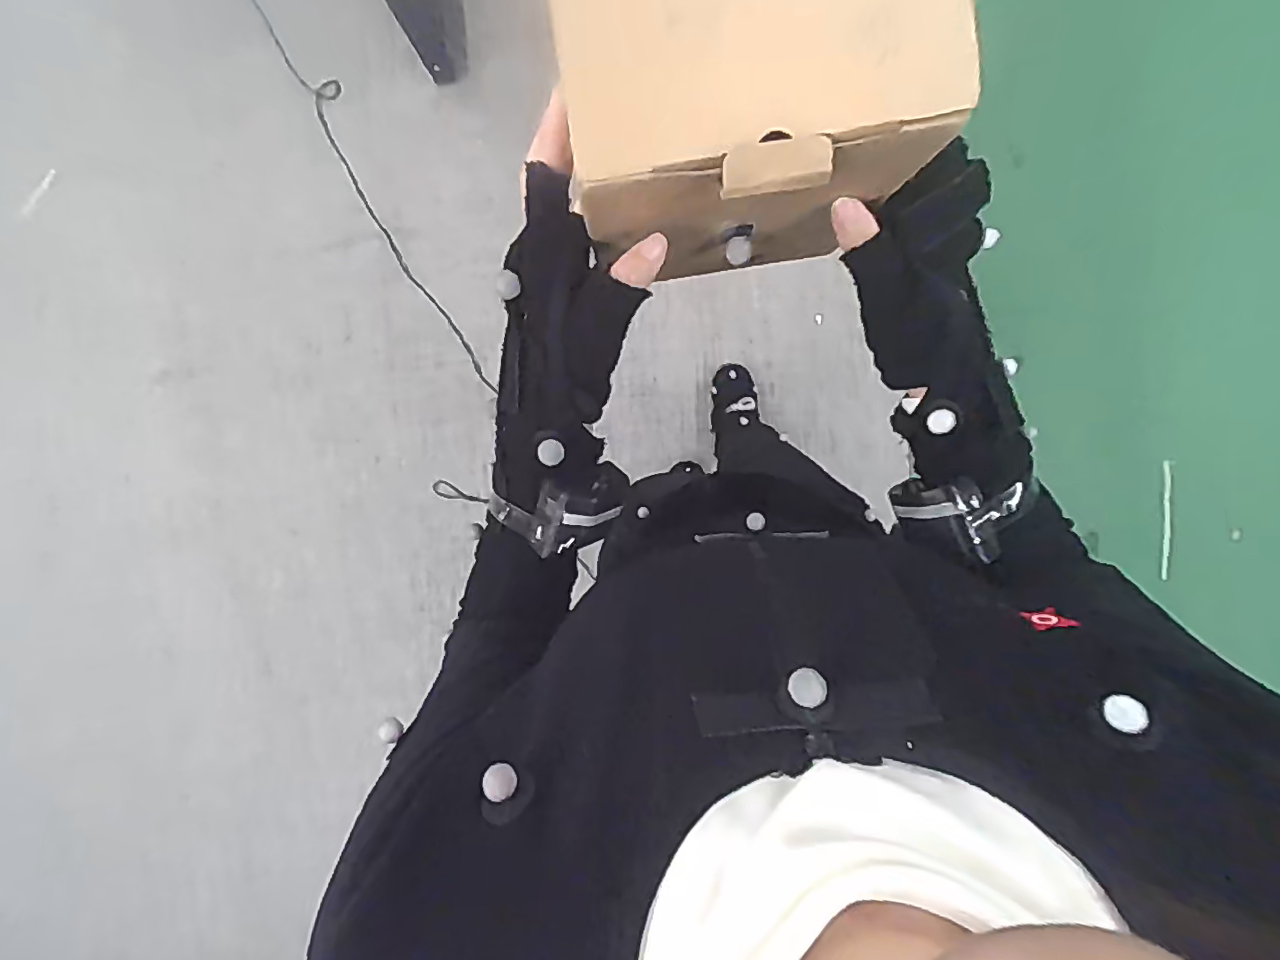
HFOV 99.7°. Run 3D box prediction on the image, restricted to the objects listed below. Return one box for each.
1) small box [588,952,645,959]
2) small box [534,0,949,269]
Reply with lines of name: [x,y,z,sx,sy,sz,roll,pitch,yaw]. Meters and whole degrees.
small box: [-0.069,1.377,1.397,0.179,0.176,0.168,-8,95,1]
small box: [0.037,-0.227,0.295,0.168,0.176,0.179,-8,95,1]
